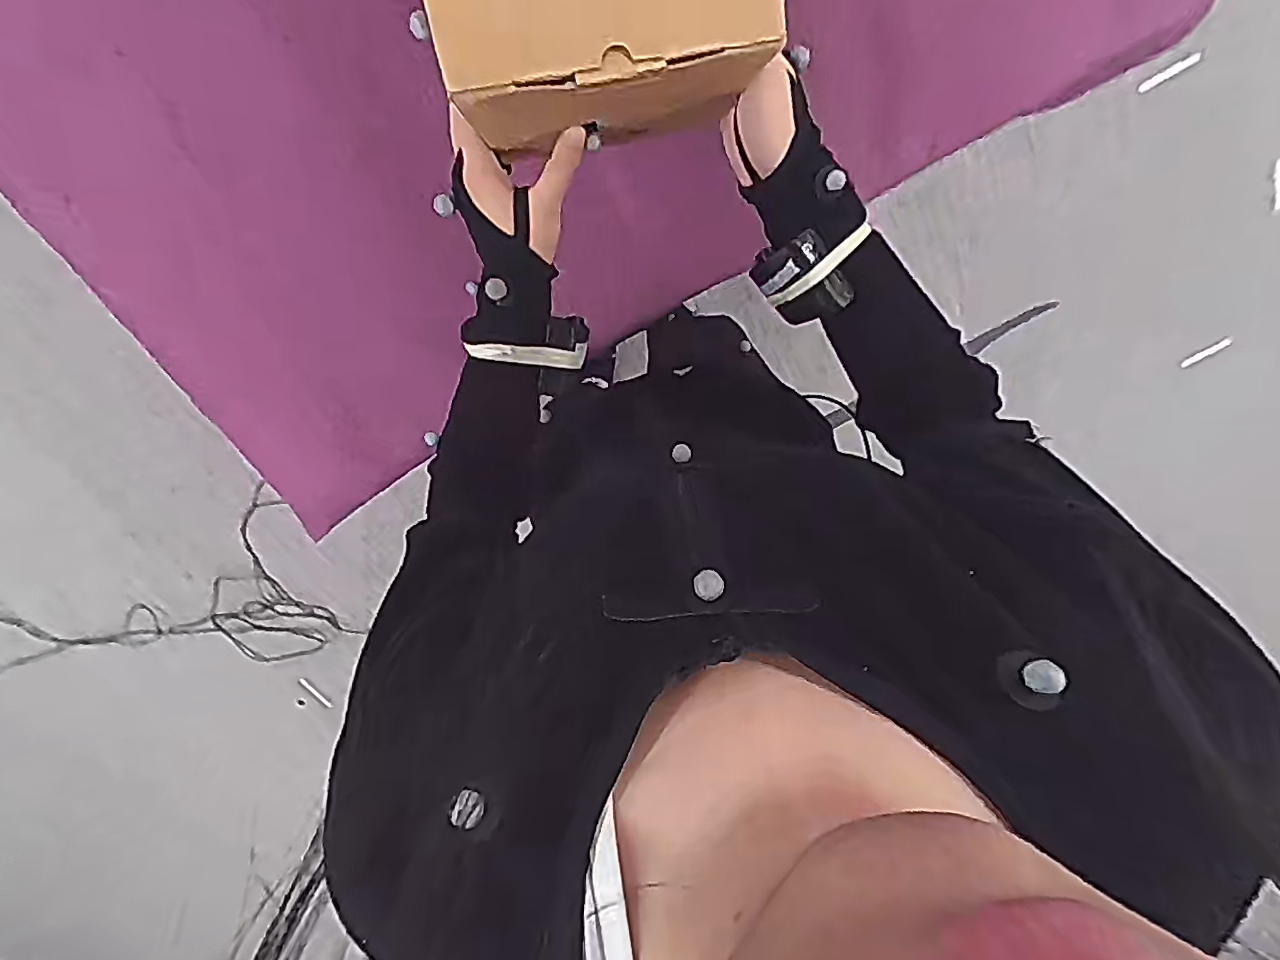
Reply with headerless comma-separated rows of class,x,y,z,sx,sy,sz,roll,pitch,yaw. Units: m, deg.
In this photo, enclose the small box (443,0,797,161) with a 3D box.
small box,-0.025,-0.302,0.301,0.168,0.176,0.179,-11,113,-2
